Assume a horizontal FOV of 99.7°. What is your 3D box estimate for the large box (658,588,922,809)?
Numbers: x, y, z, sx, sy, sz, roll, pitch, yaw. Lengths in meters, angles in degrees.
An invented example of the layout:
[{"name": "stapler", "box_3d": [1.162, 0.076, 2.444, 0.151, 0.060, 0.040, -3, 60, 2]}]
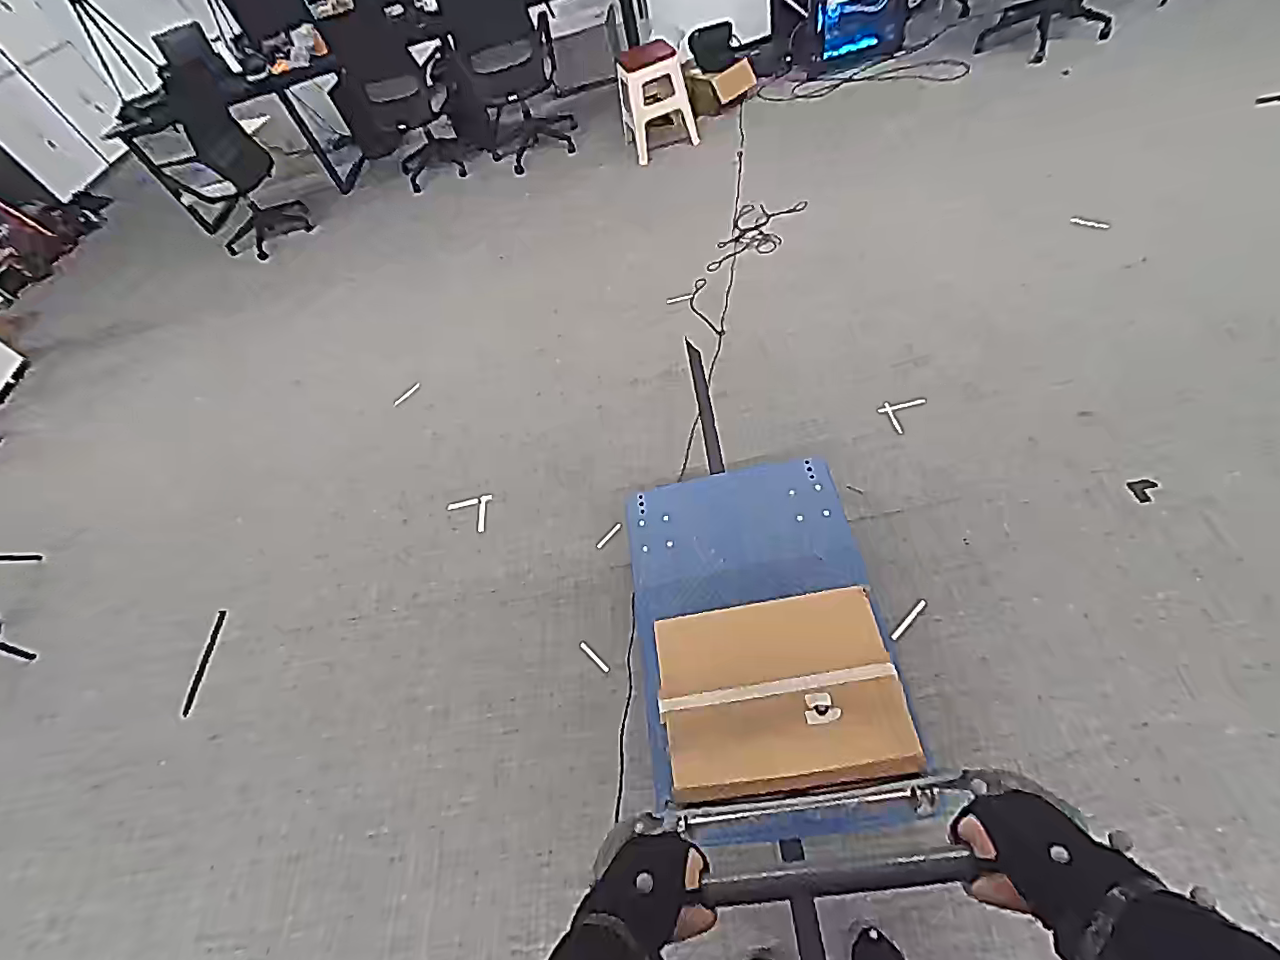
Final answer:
[{"name": "large box", "box_3d": [0.274, 0.453, 1.089, 0.408, 0.320, 0.320, -12, 57, 6]}]
